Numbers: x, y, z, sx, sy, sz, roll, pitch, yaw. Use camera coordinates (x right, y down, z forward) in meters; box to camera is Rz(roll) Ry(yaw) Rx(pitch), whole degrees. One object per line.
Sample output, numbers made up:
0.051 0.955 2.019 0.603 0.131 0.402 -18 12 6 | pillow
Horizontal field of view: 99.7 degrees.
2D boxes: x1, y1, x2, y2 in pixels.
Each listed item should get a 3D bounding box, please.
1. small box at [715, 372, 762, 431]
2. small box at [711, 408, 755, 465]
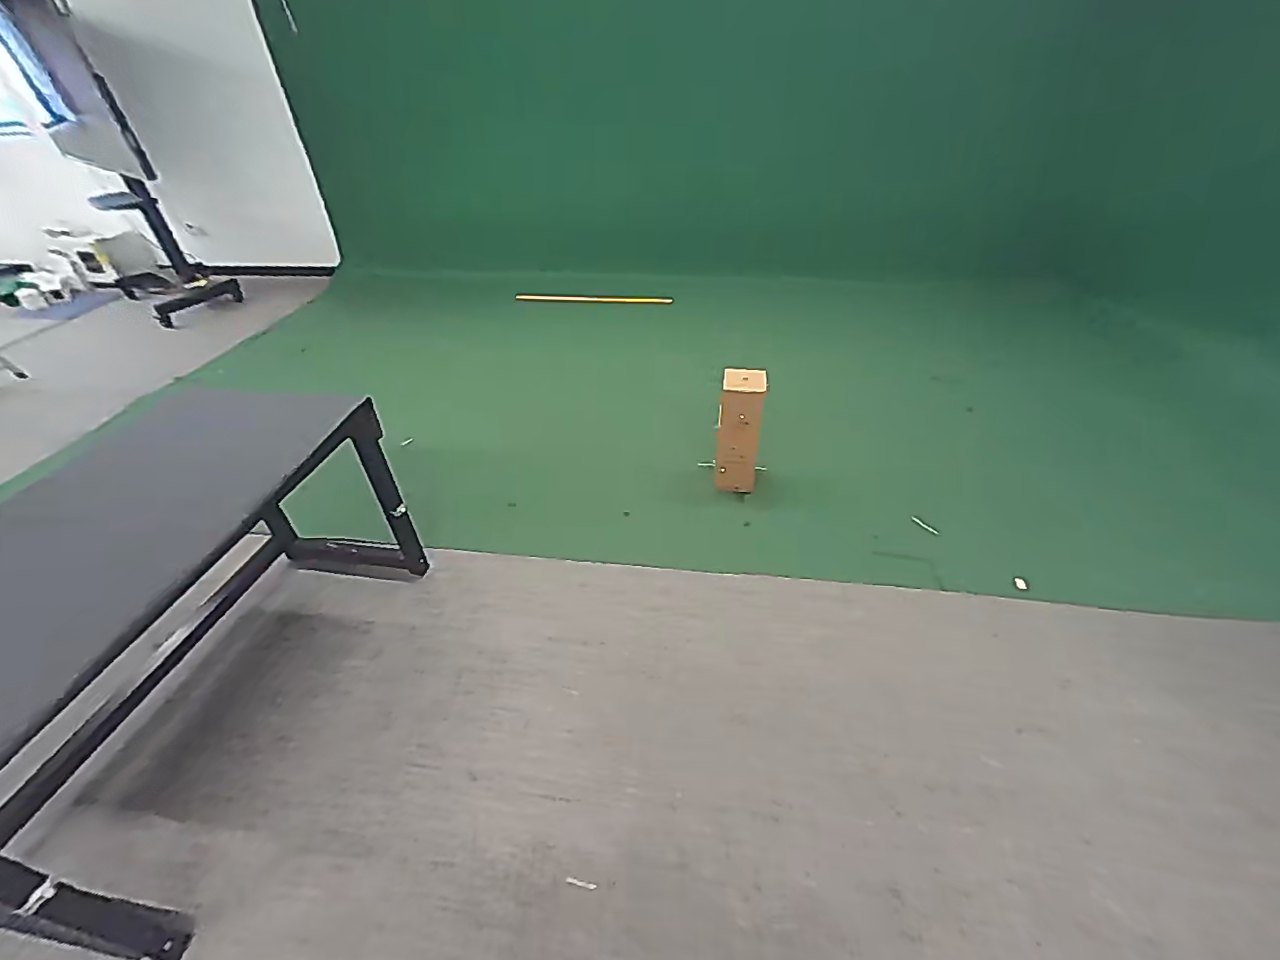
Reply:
0.393 -0.315 2.164 0.168 0.176 0.179 5 39 7 | small box
0.386 -0.183 2.263 0.168 0.176 0.179 5 38 6 | small box
